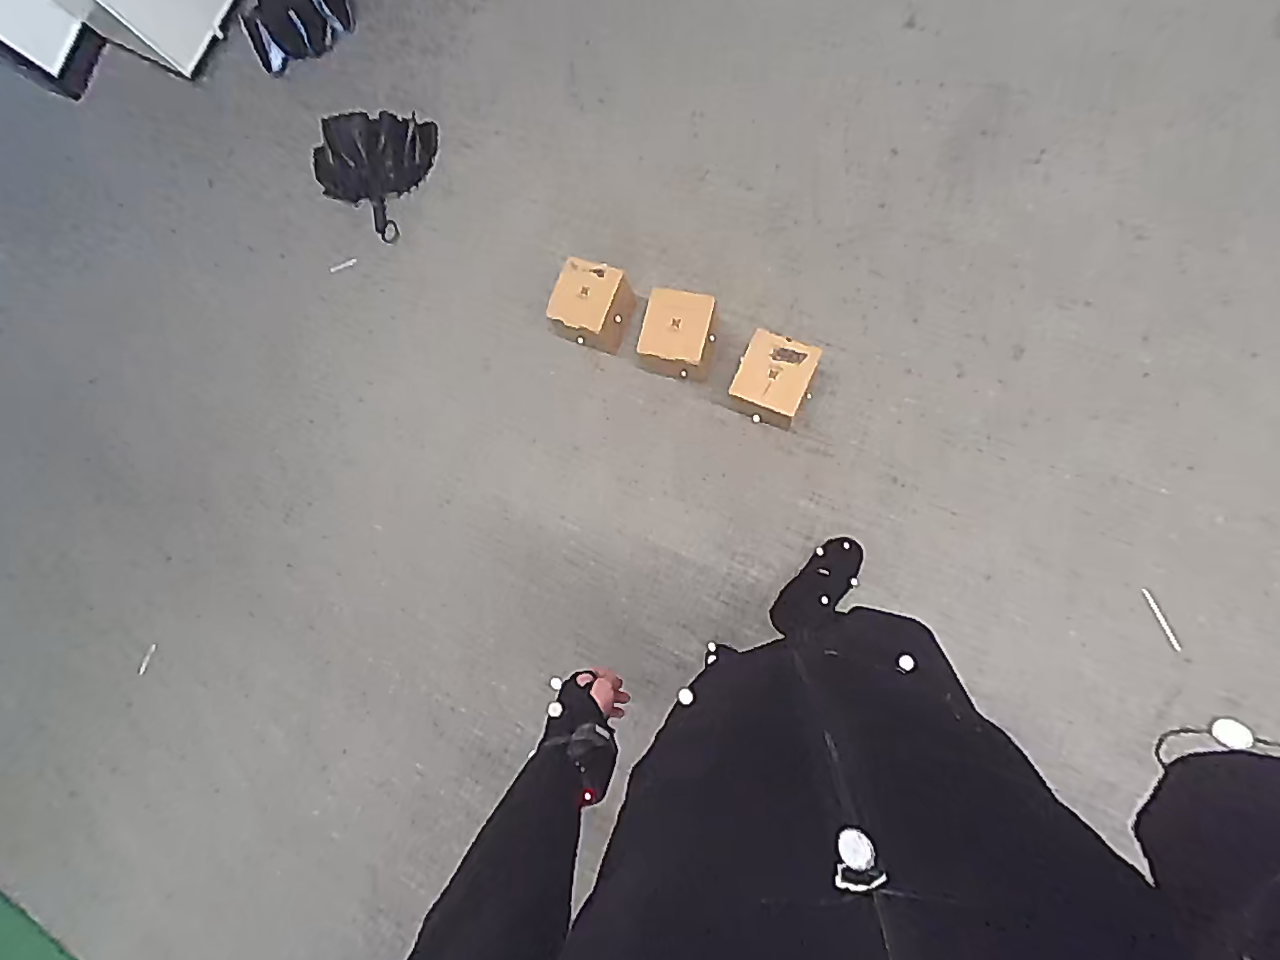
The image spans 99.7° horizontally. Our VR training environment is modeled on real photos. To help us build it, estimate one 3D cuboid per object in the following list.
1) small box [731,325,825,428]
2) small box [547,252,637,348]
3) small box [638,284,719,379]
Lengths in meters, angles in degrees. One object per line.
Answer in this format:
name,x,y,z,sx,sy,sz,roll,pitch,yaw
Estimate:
small box,0.337,-0.249,1.339,0.168,0.176,0.179,25,89,15
small box,-0.121,-0.480,1.468,0.168,0.176,0.179,22,88,14
small box,0.108,-0.380,1.408,0.168,0.176,0.179,13,84,12
